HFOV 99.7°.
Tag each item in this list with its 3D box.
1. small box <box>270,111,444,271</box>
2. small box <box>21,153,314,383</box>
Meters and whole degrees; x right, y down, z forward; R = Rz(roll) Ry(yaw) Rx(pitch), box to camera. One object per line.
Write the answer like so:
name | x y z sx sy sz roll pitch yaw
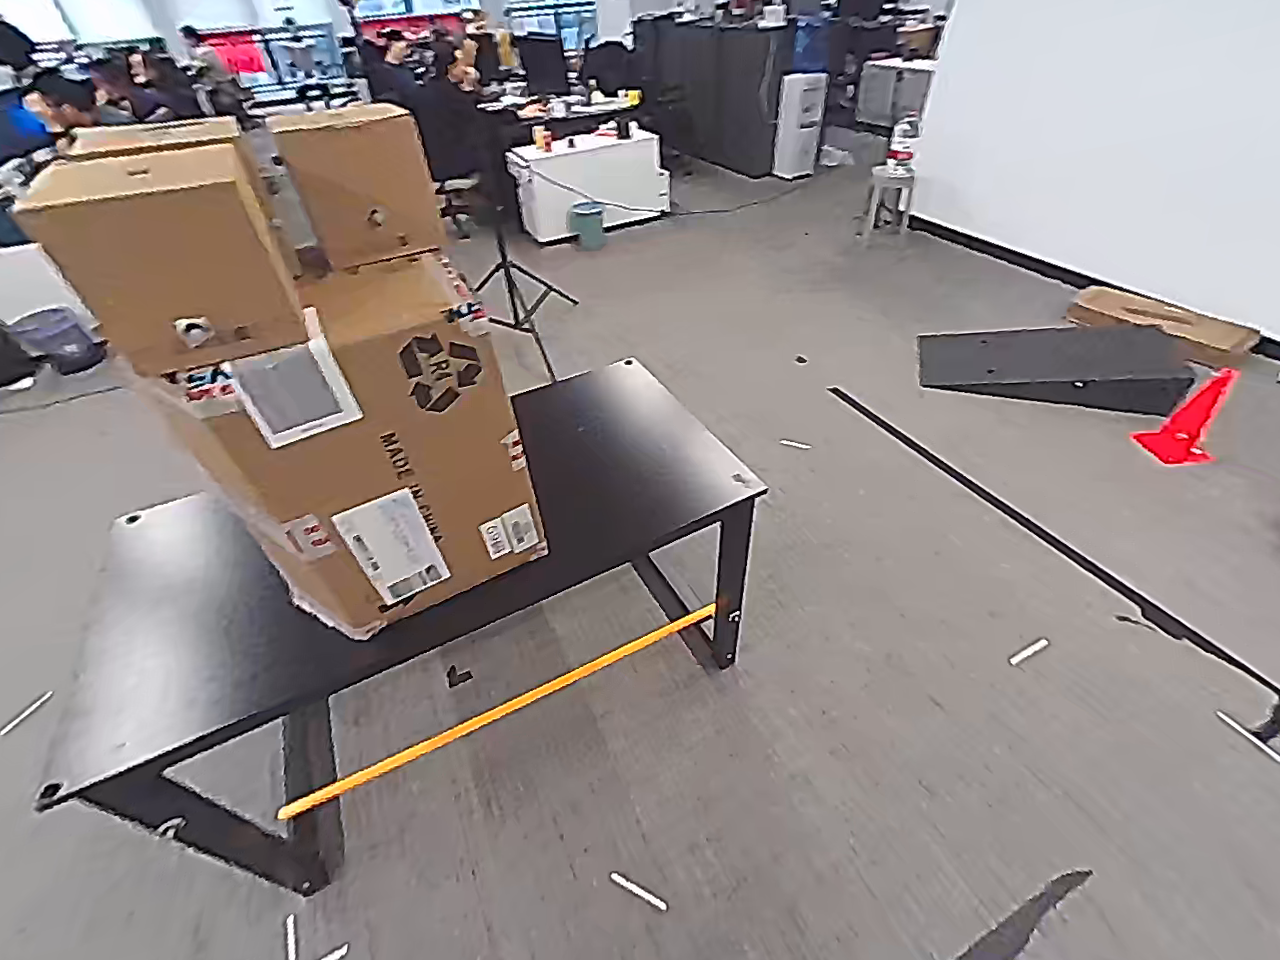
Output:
small box | -0.406 -0.421 0.785 0.168 0.176 0.179 -24 45 -21
small box | -0.480 -0.230 0.580 0.168 0.176 0.179 -24 48 -21
